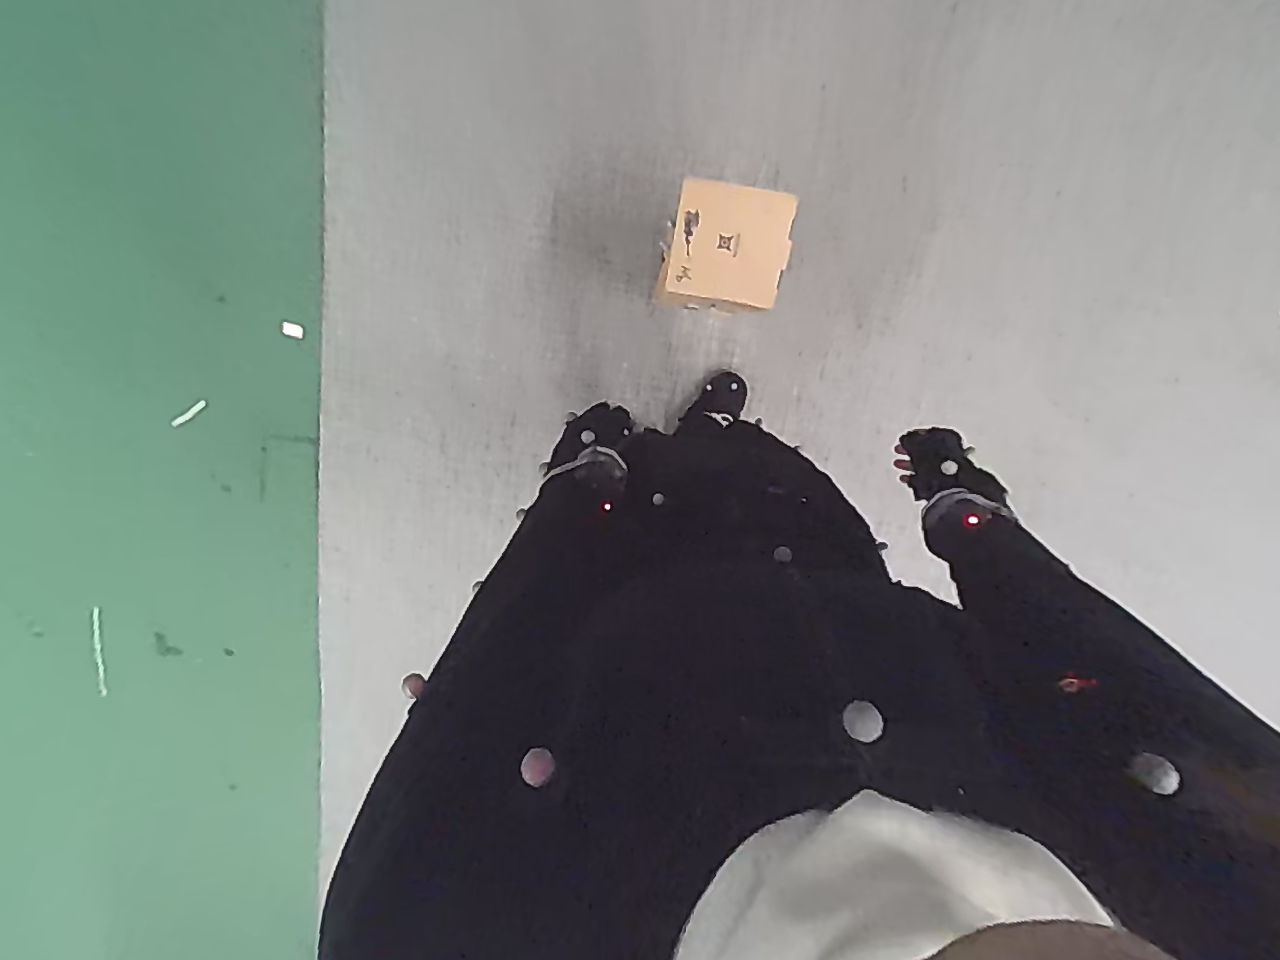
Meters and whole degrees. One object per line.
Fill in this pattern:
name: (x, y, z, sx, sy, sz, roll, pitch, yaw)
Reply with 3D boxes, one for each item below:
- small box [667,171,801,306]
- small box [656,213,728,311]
small box: (0.145, -0.389, 0.903, 0.179, 0.176, 0.168, 10, 106, 0)
small box: (0.137, -0.480, 1.215, 0.179, 0.176, 0.168, 12, 106, -2)
